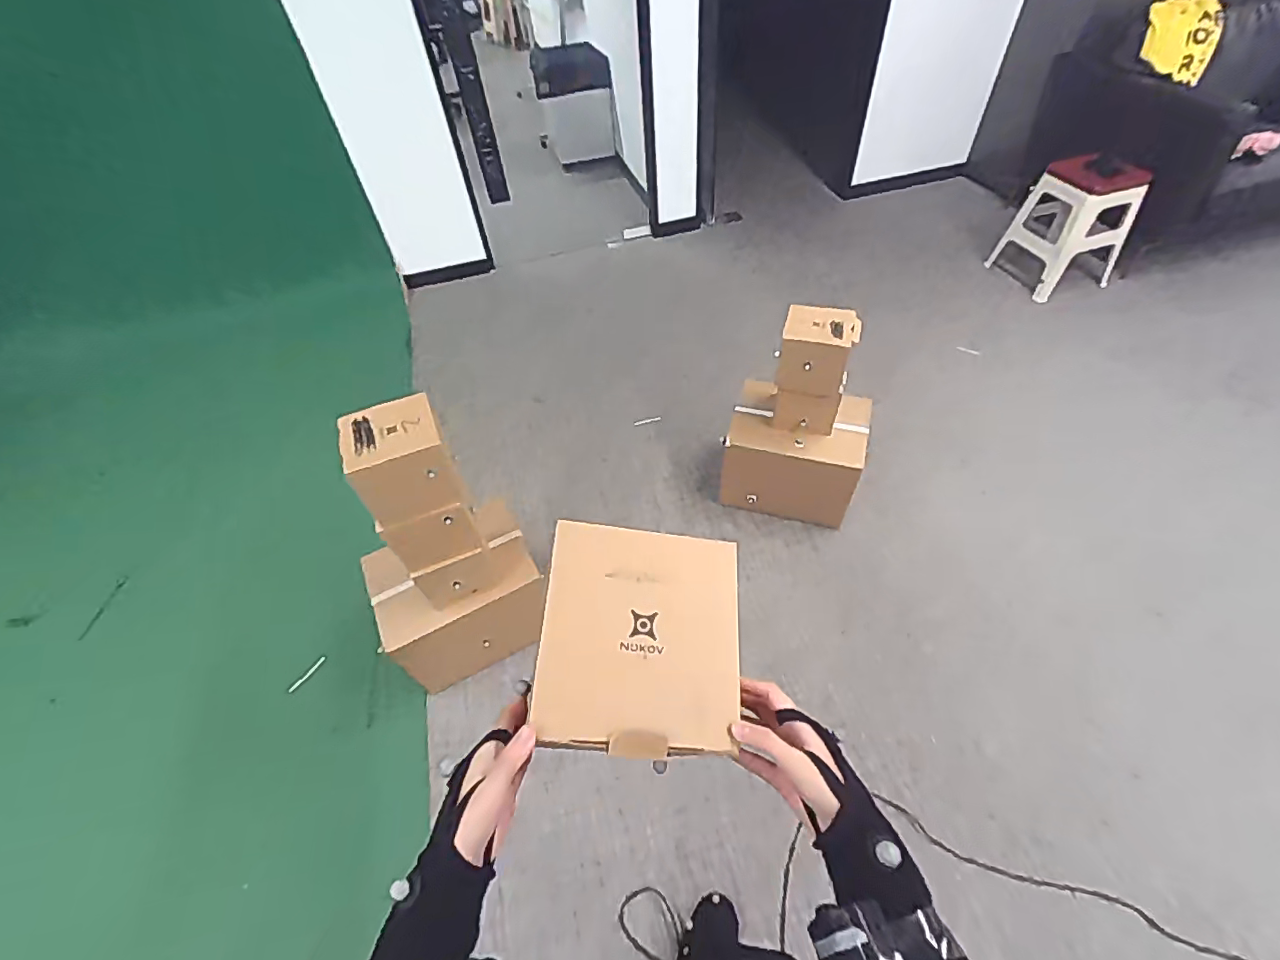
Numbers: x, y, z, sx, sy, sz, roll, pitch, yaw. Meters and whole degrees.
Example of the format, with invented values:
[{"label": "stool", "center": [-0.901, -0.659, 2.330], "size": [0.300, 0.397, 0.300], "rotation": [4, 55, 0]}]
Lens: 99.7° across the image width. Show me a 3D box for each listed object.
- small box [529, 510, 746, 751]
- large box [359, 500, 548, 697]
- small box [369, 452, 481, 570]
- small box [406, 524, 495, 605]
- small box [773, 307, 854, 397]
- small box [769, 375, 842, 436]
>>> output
[{"label": "small box", "center": [-0.008, 0.150, 0.508], "size": [0.168, 0.176, 0.179], "rotation": [10, 62, -9]}, {"label": "large box", "center": [-0.491, 0.331, 1.519], "size": [0.408, 0.320, 0.320], "rotation": [-26, 52, -15]}, {"label": "small box", "center": [-0.475, 0.073, 1.202], "size": [0.179, 0.176, 0.168], "rotation": [-19, 51, -13]}, {"label": "small box", "center": [-0.467, 0.183, 1.320], "size": [0.168, 0.176, 0.179], "rotation": [-20, 52, -13]}, {"label": "small box", "center": [0.473, -0.348, 1.484], "size": [0.179, 0.176, 0.168], "rotation": [12, 51, 15]}, {"label": "small box", "center": [0.494, -0.251, 1.617], "size": [0.179, 0.176, 0.168], "rotation": [10, 50, 11]}]
